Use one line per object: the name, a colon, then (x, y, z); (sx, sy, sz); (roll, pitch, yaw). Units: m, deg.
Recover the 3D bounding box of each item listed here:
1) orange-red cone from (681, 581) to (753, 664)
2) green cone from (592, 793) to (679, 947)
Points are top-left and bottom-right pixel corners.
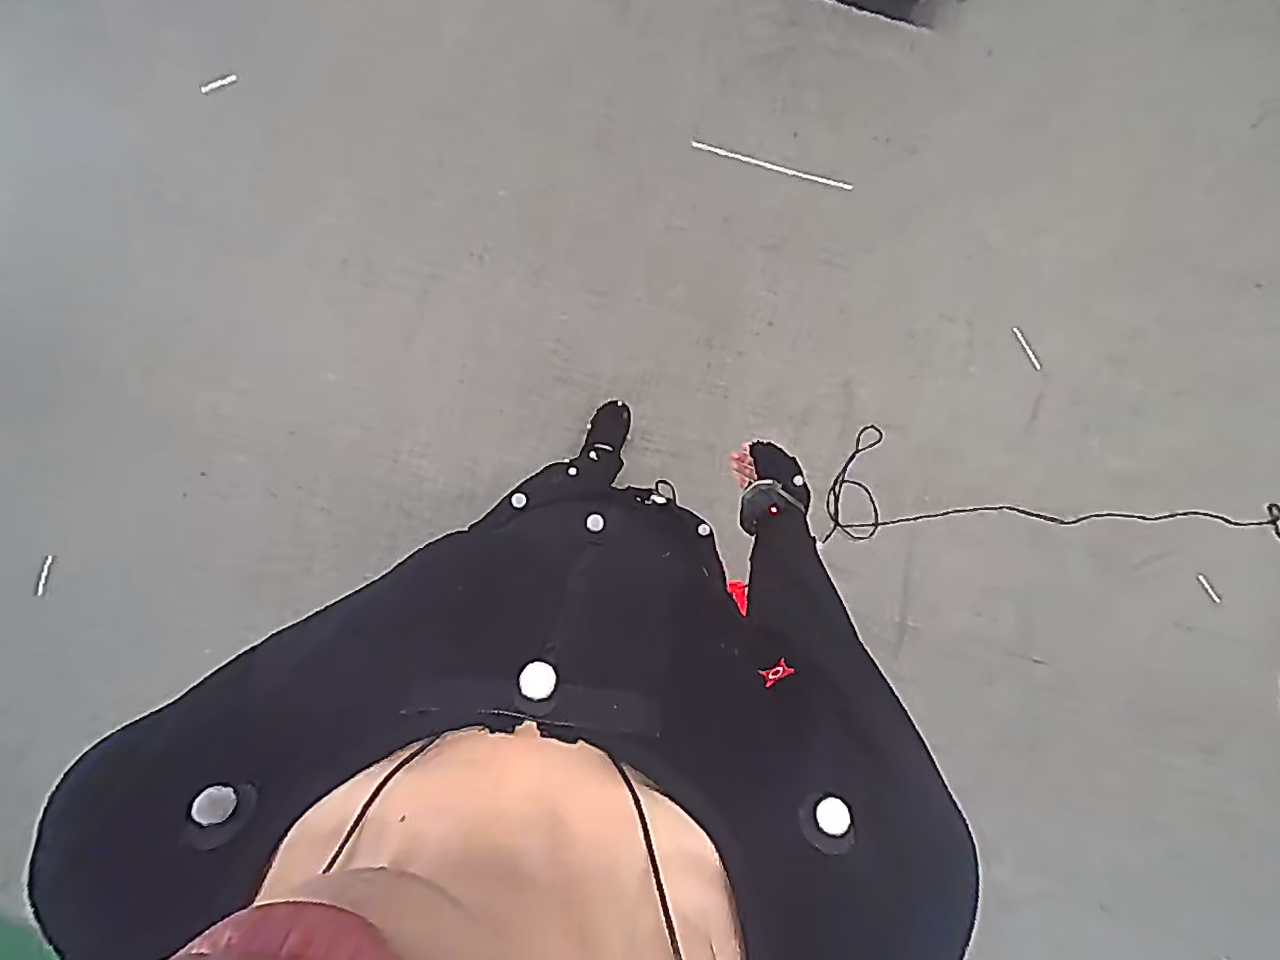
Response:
orange-red cone: (0.218, 0.379, 1.326); (0.198, 0.360, 0.199); (-3, 90, -1)
green cone: (-0.001, 0.960, 1.295); (0.200, 0.368, 0.202); (17, 87, -2)
